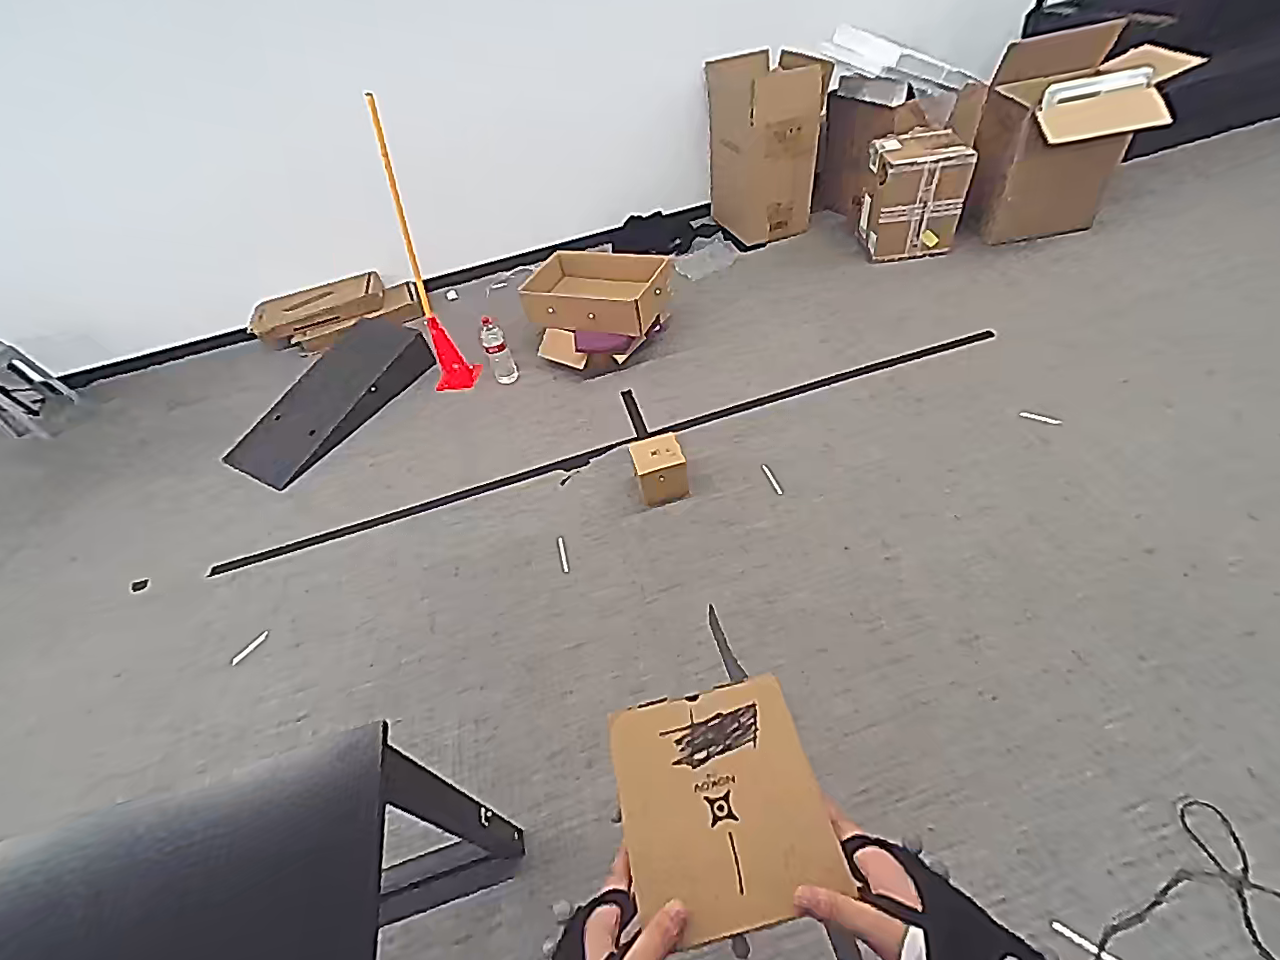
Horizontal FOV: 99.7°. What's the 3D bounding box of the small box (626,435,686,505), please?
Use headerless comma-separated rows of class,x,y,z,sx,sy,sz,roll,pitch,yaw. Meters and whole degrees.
small box,0.062,-0.031,1.983,0.179,0.176,0.168,-16,47,-5

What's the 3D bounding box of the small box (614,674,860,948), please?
small box,0.074,0.312,0.510,0.168,0.176,0.179,-11,50,-5
